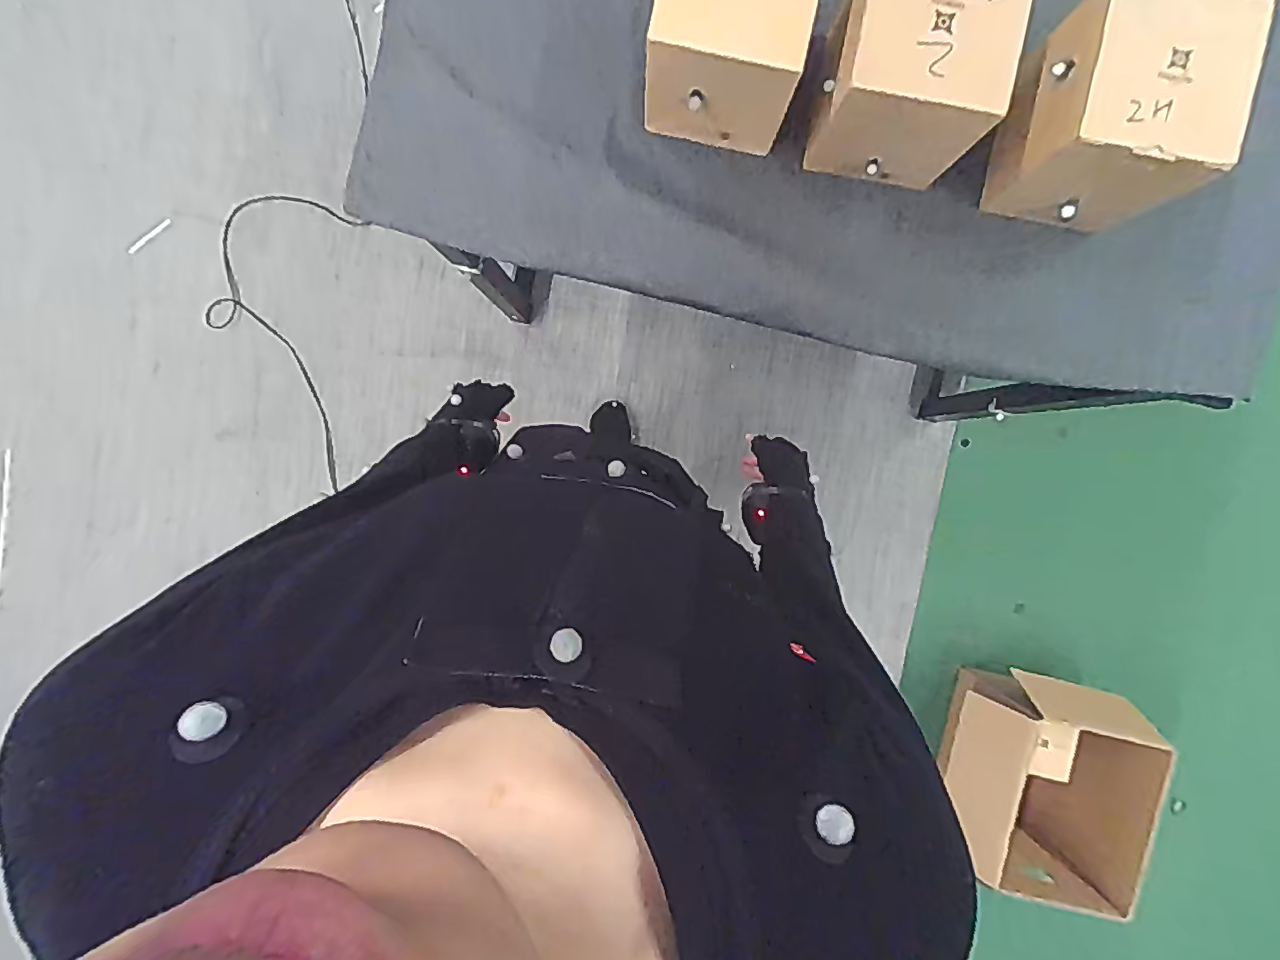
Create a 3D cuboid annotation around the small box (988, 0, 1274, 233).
[{"bbox_3d":[0.547,-0.422,0.630,0.168,0.176,0.179,11,93,1],"label":"small box"}]
